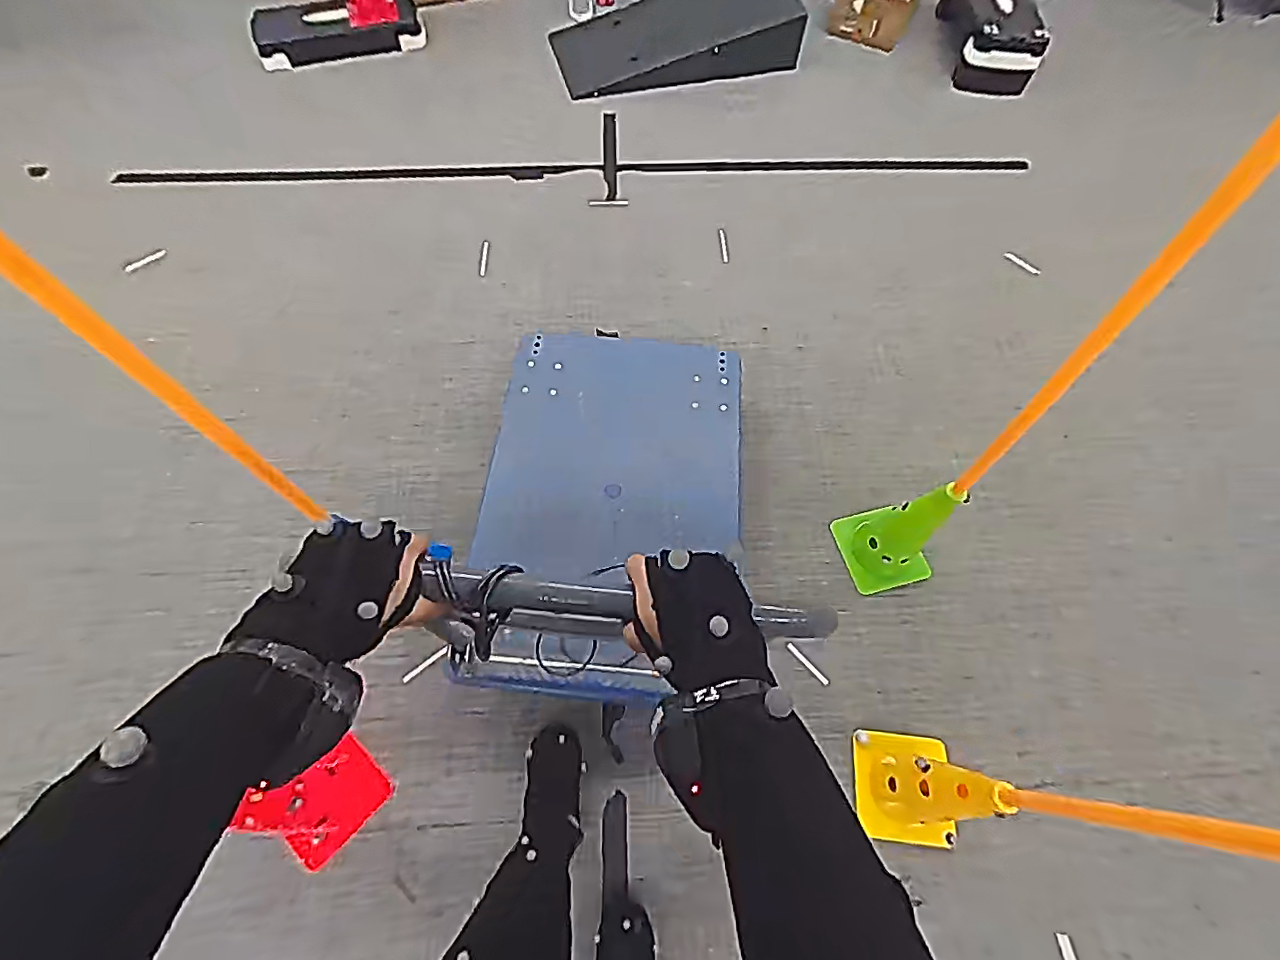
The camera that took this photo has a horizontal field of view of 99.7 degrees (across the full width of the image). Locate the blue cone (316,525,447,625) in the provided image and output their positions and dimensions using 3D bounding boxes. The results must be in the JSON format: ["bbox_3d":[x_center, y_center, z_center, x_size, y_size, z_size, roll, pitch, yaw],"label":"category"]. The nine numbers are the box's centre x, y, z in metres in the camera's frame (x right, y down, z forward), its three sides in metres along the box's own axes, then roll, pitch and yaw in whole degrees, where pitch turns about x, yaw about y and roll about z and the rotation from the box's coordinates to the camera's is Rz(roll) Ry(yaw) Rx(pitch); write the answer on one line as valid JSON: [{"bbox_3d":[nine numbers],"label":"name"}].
[{"bbox_3d":[-0.568,0.168,1.143,0.193,0.380,0.192,12,65,4],"label":"blue cone"}]

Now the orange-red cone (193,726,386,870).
[{"bbox_3d":[-0.631,0.553,0.933,0.198,0.360,0.199,41,68,16],"label":"orange-red cone"}]

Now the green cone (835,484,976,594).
[{"bbox_3d":[0.611,0.097,1.192,0.200,0.368,0.202,-14,66,-8],"label":"green cone"}]
